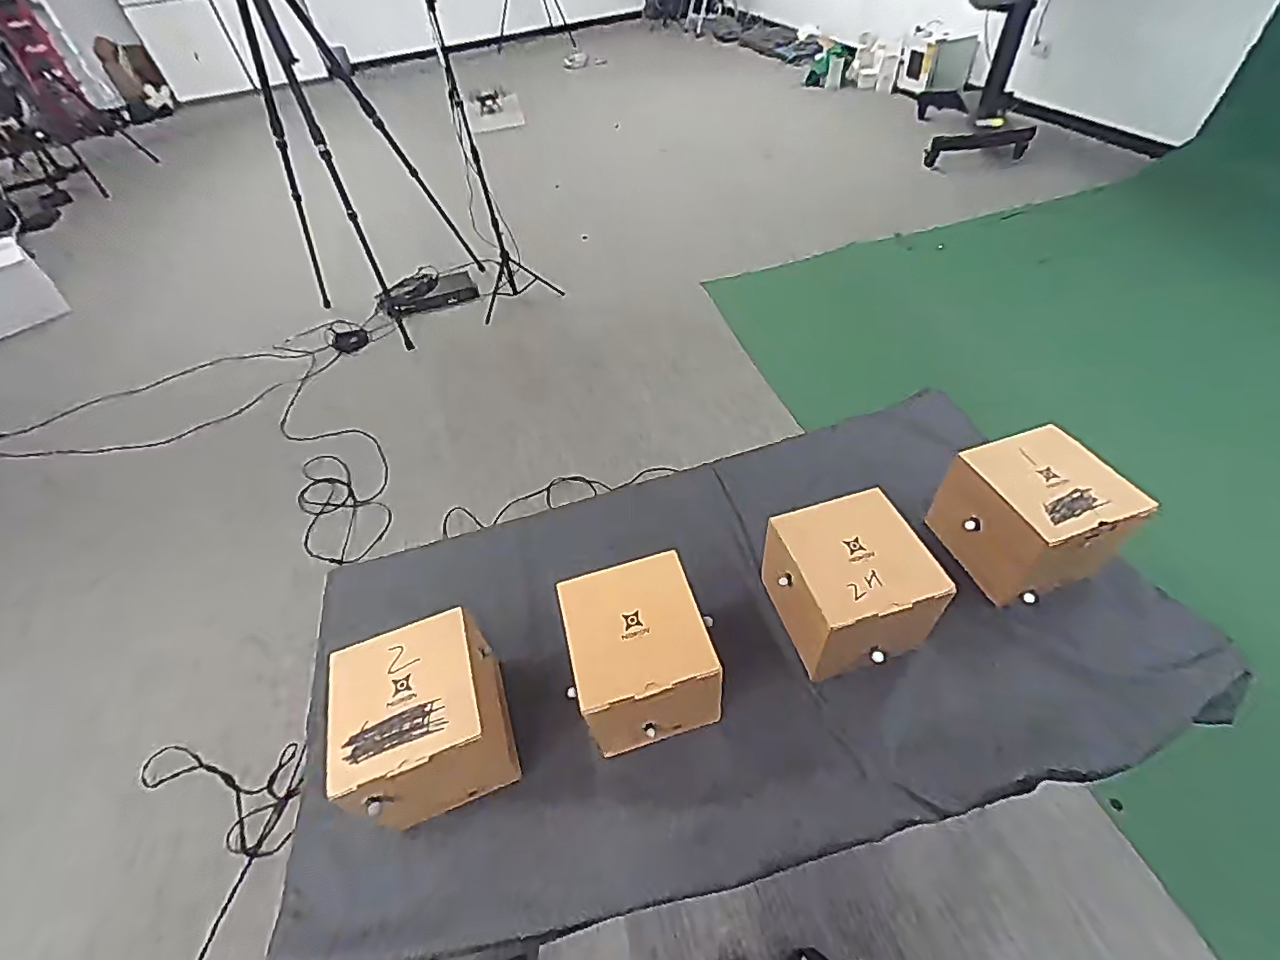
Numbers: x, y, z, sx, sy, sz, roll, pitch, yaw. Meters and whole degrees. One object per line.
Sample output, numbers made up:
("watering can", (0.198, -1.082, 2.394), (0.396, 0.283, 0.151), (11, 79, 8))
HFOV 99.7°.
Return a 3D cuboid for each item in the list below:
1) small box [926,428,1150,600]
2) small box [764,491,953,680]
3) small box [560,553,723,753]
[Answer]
("small box", (0.566, 0.057, 0.801), (0.168, 0.176, 0.179), (-16, 48, -7))
("small box", (0.285, 0.147, 0.755), (0.168, 0.176, 0.179), (-15, 49, -6))
("small box", (0.000, 0.229, 0.718), (0.168, 0.176, 0.179), (-15, 49, -7))
